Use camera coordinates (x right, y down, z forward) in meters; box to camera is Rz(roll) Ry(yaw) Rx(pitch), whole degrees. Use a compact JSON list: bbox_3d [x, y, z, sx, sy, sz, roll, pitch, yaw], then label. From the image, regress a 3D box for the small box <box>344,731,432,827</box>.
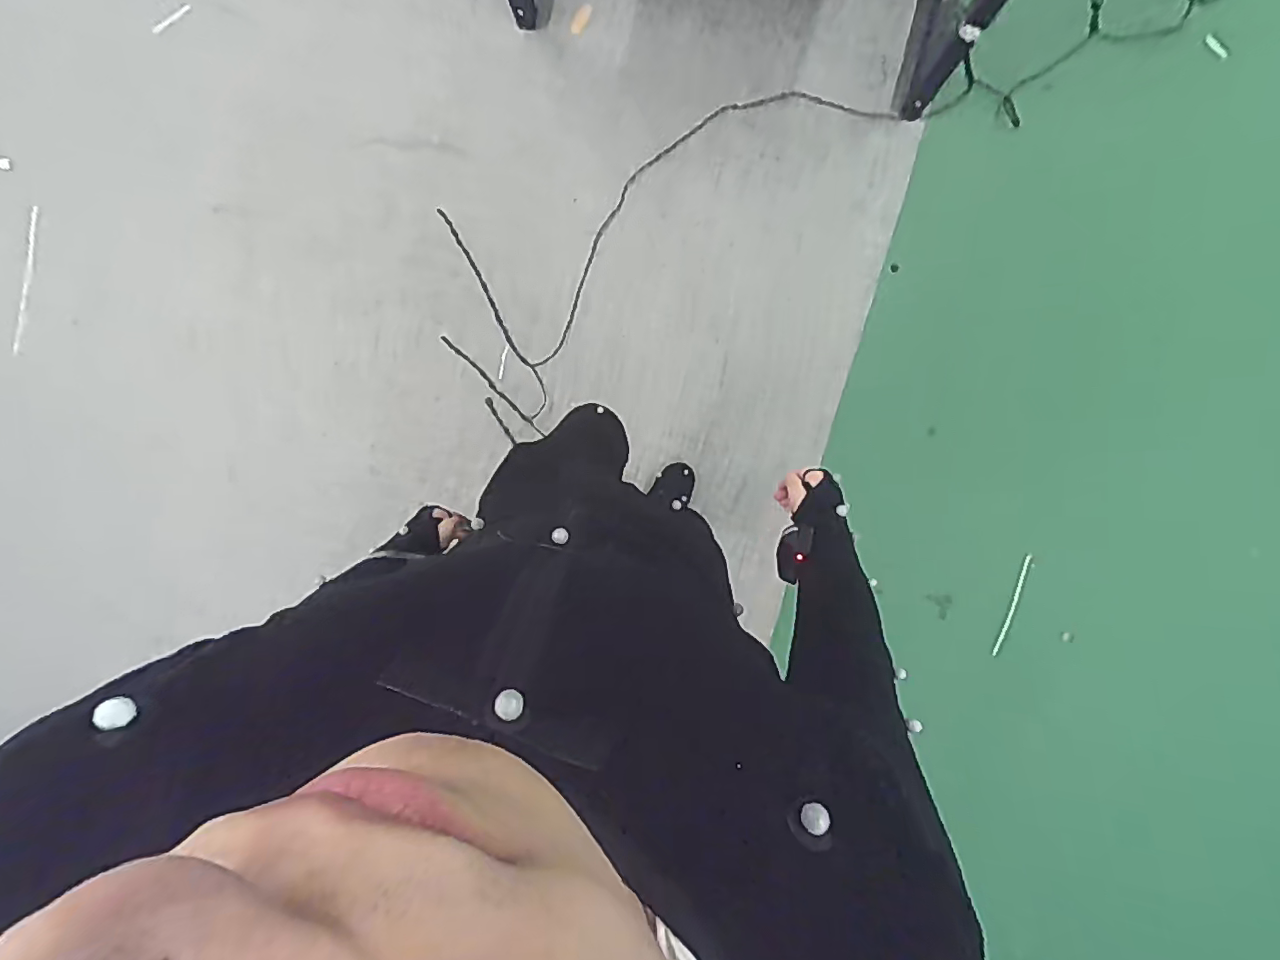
[{"bbox_3d":[-0.755,0.898,1.640,0.168,0.176,0.179,16,95,2],"label":"small box"}]
